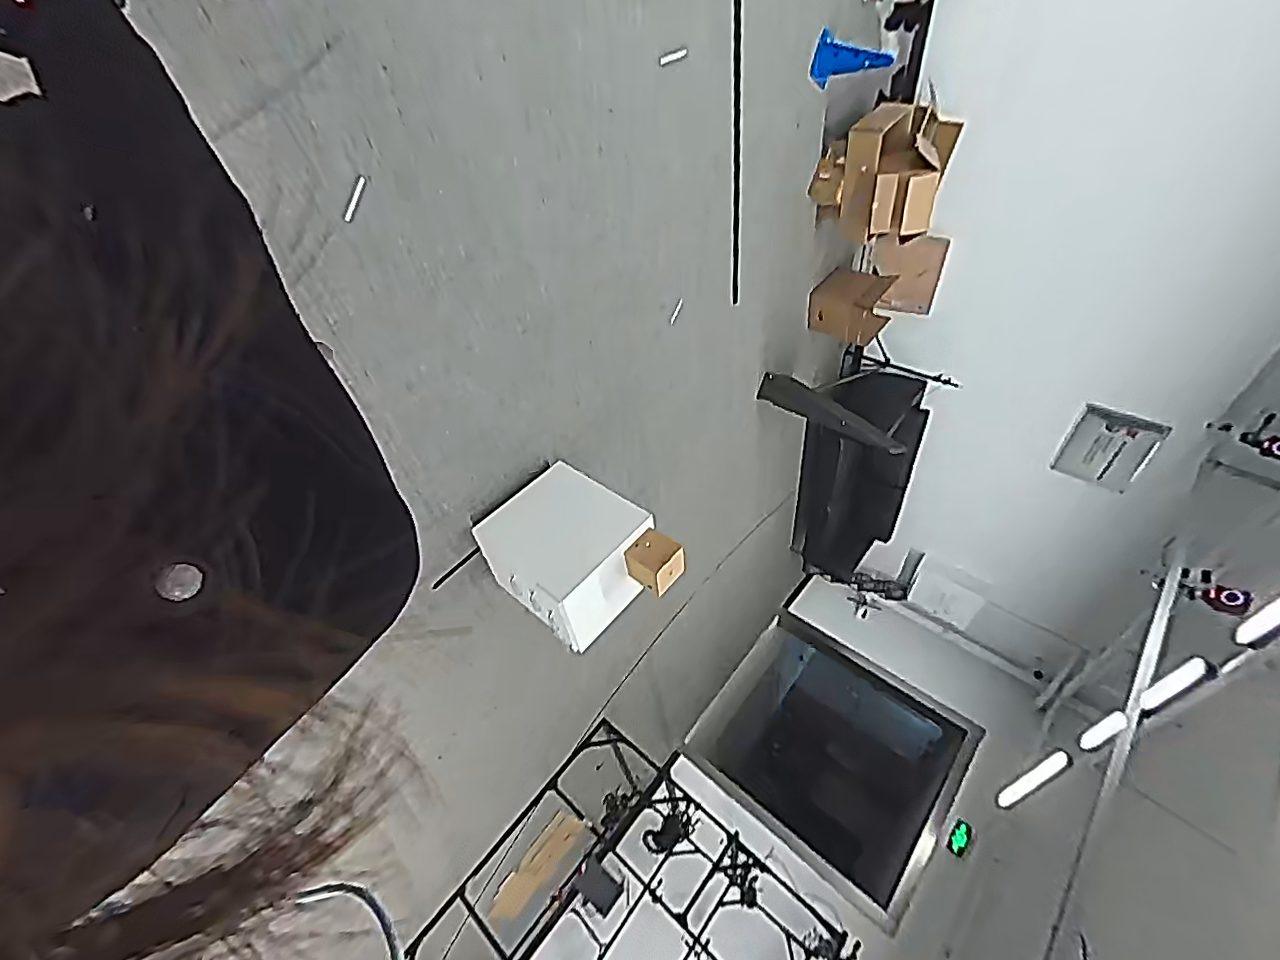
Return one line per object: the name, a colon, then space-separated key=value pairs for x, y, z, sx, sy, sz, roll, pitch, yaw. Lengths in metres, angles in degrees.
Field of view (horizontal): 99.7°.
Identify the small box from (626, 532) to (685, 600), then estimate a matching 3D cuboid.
small box: x=0.062 y=0.339 z=2.168 sx=0.168 sy=0.176 sz=0.179 roll=-42 pitch=145 yaw=-27
